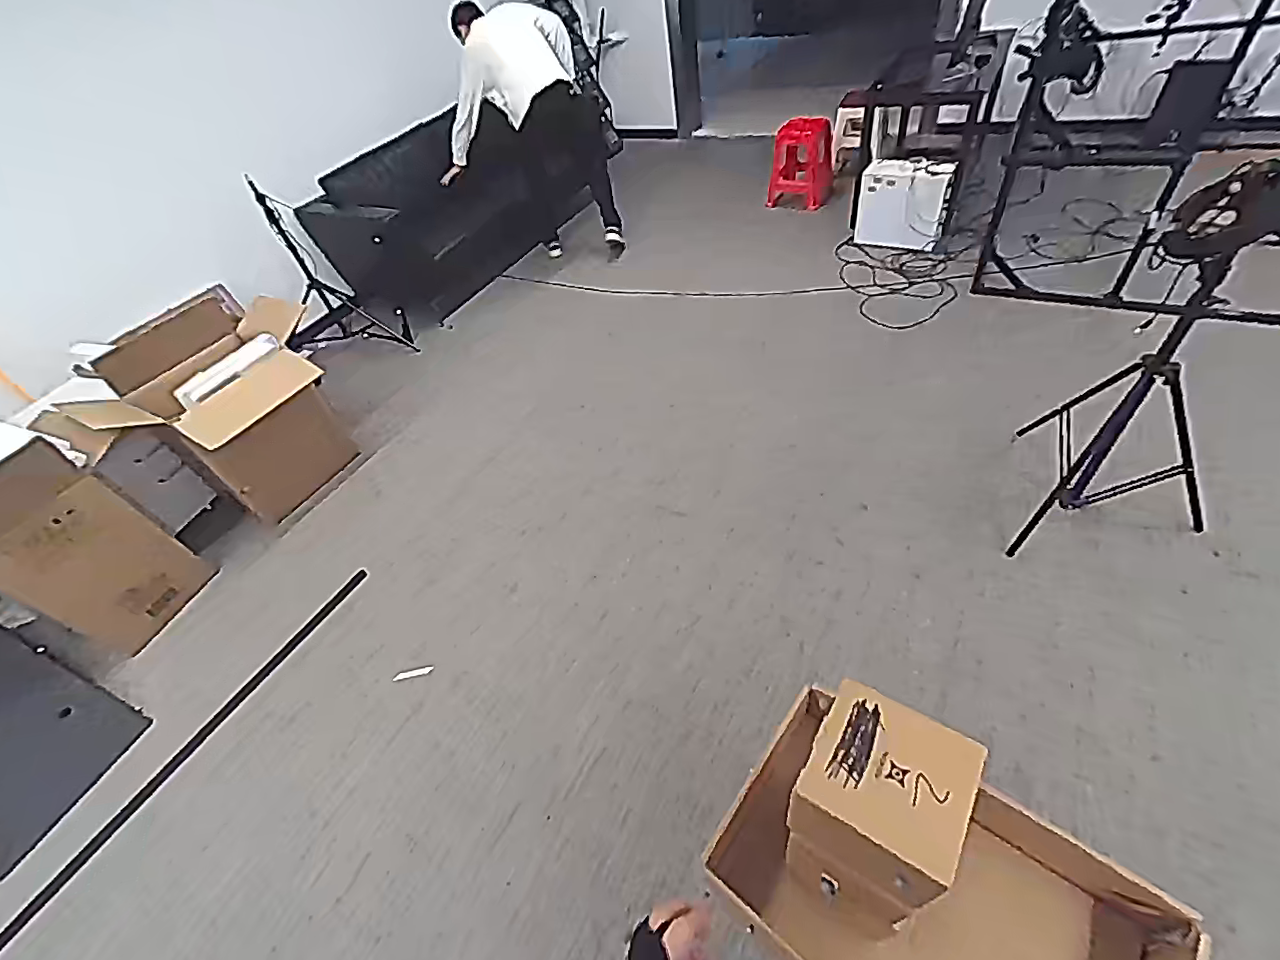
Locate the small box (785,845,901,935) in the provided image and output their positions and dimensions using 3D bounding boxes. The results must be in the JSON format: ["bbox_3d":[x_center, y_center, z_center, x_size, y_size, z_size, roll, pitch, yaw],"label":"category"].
[{"bbox_3d":[0.362,0.633,0.922,0.179,0.176,0.168,24,56,29],"label":"small box"}]

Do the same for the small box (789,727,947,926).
[{"bbox_3d":[0.331,0.517,0.810,0.168,0.176,0.179,20,54,29],"label":"small box"}]
